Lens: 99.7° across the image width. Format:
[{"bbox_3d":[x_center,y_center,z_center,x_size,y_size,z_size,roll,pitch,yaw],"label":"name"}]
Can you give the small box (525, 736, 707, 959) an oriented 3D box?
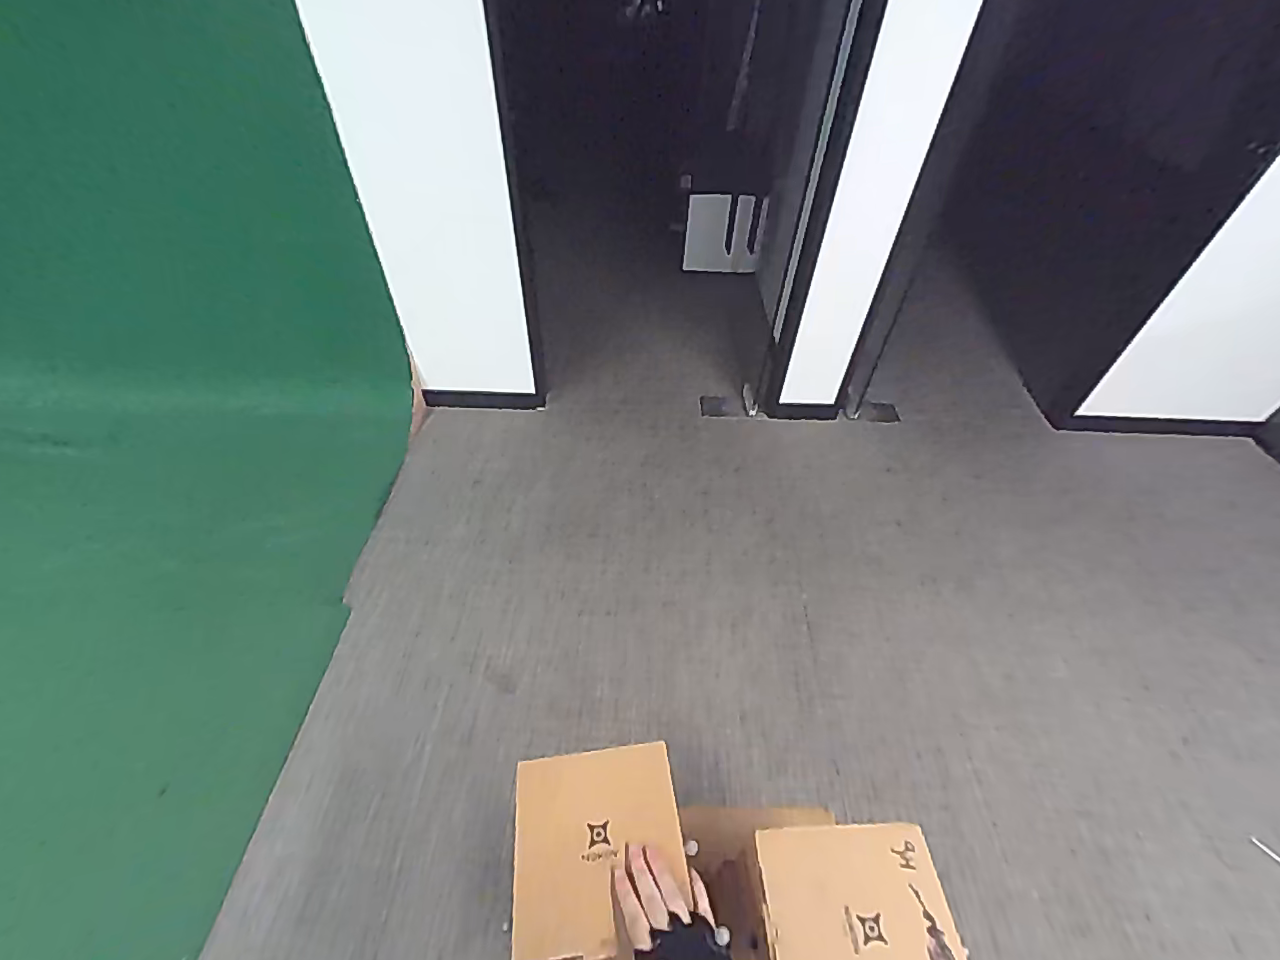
[{"bbox_3d":[-0.033,0.413,0.593,0.168,0.176,0.179,-5,41,-7],"label":"small box"}]
